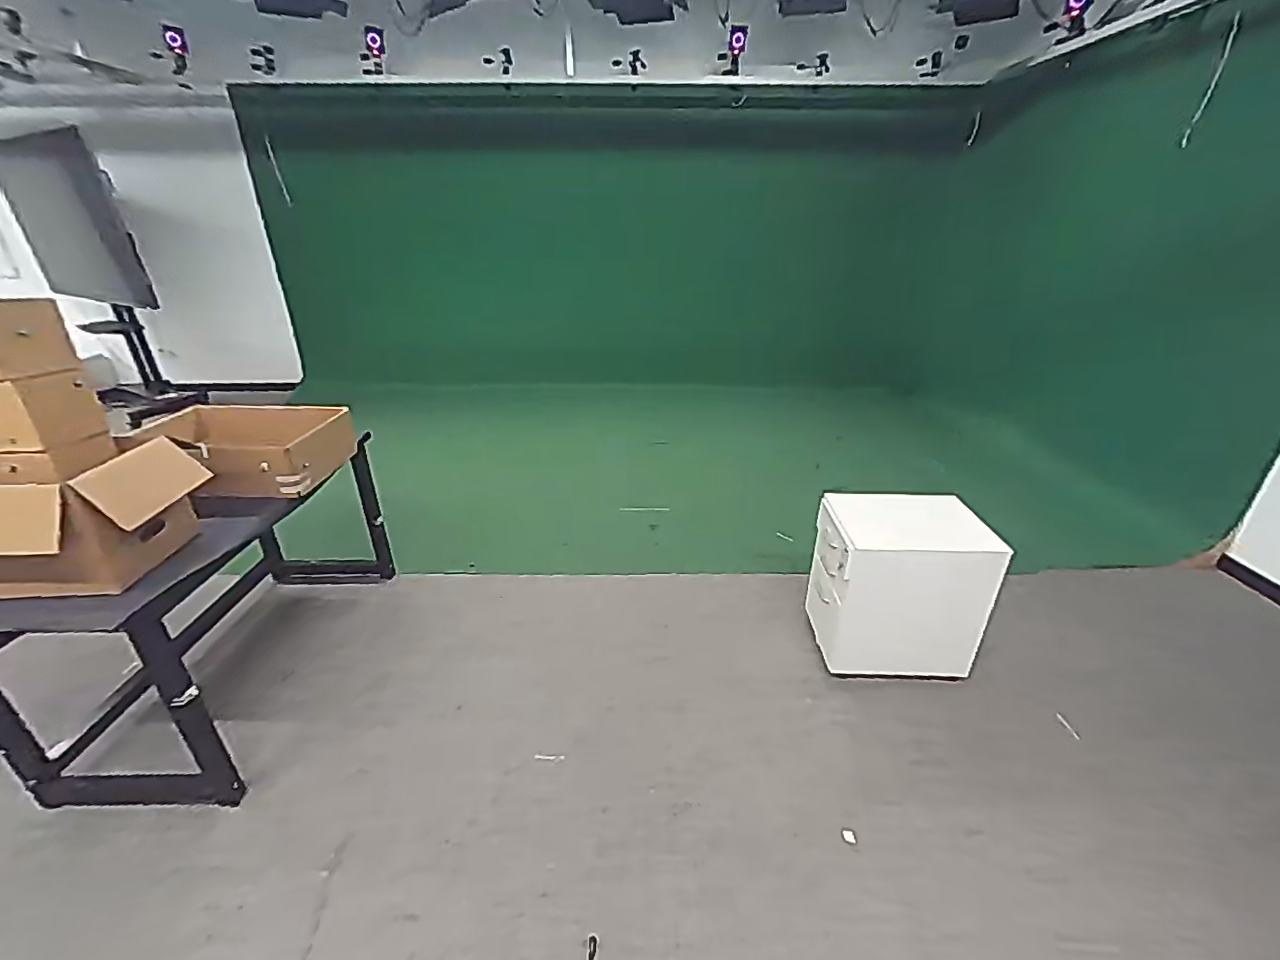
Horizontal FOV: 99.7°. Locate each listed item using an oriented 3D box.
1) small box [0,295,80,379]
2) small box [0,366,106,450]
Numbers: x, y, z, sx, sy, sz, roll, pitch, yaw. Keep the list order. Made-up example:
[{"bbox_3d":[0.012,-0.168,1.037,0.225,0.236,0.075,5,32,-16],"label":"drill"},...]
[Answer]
[{"bbox_3d":[-1.467,-0.326,1.238,0.168,0.176,0.179,0,22,2],"label":"small box"},{"bbox_3d":[-1.461,-0.174,1.300,0.168,0.176,0.179,-1,21,1],"label":"small box"}]
